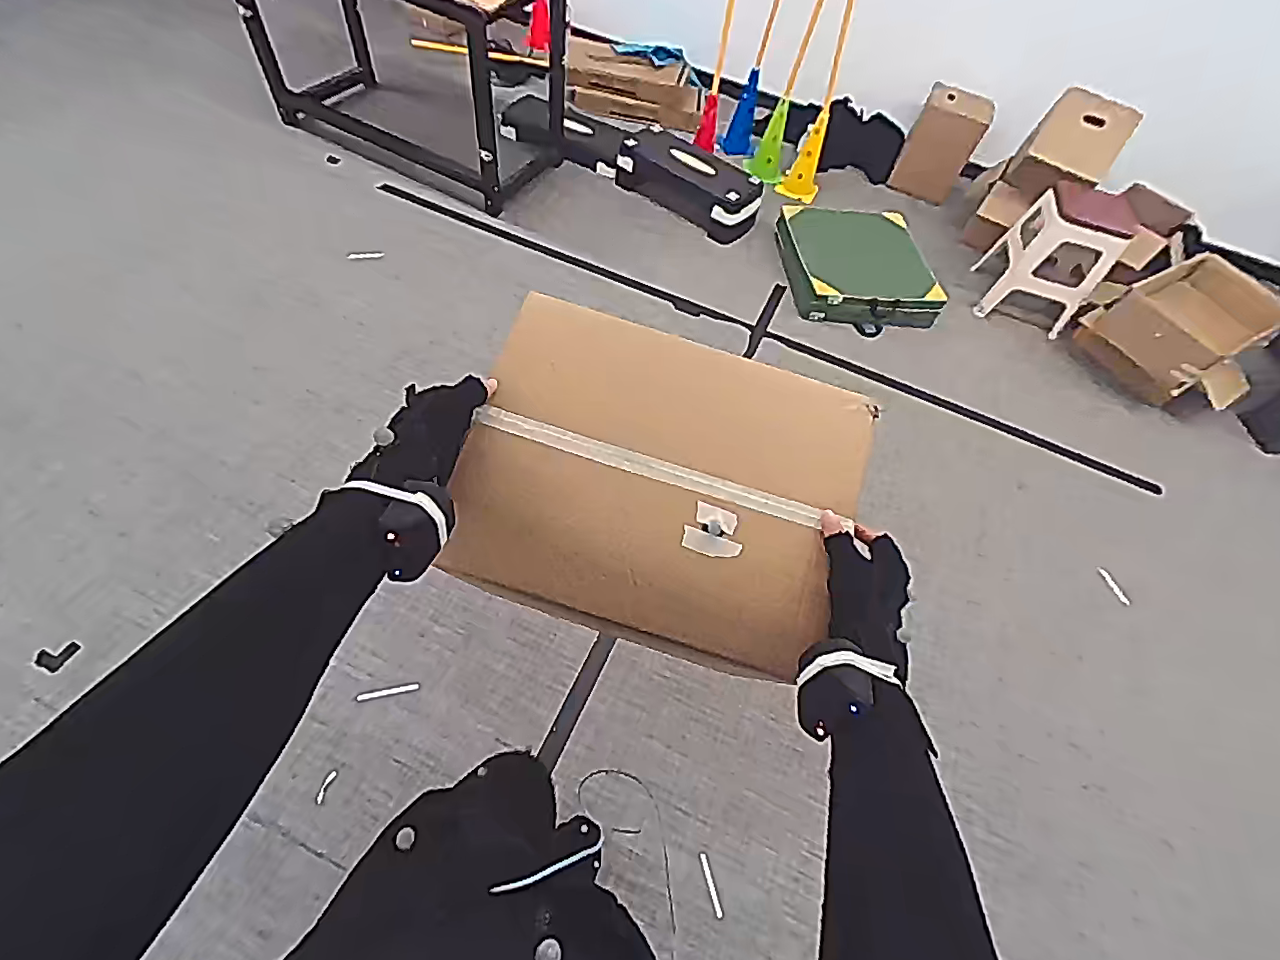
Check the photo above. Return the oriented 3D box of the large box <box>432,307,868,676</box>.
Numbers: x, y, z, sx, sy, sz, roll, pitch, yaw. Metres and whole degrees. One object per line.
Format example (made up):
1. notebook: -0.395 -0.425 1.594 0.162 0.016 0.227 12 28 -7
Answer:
1. large box: 0.015 0.039 0.709 0.408 0.320 0.320 18 73 1
